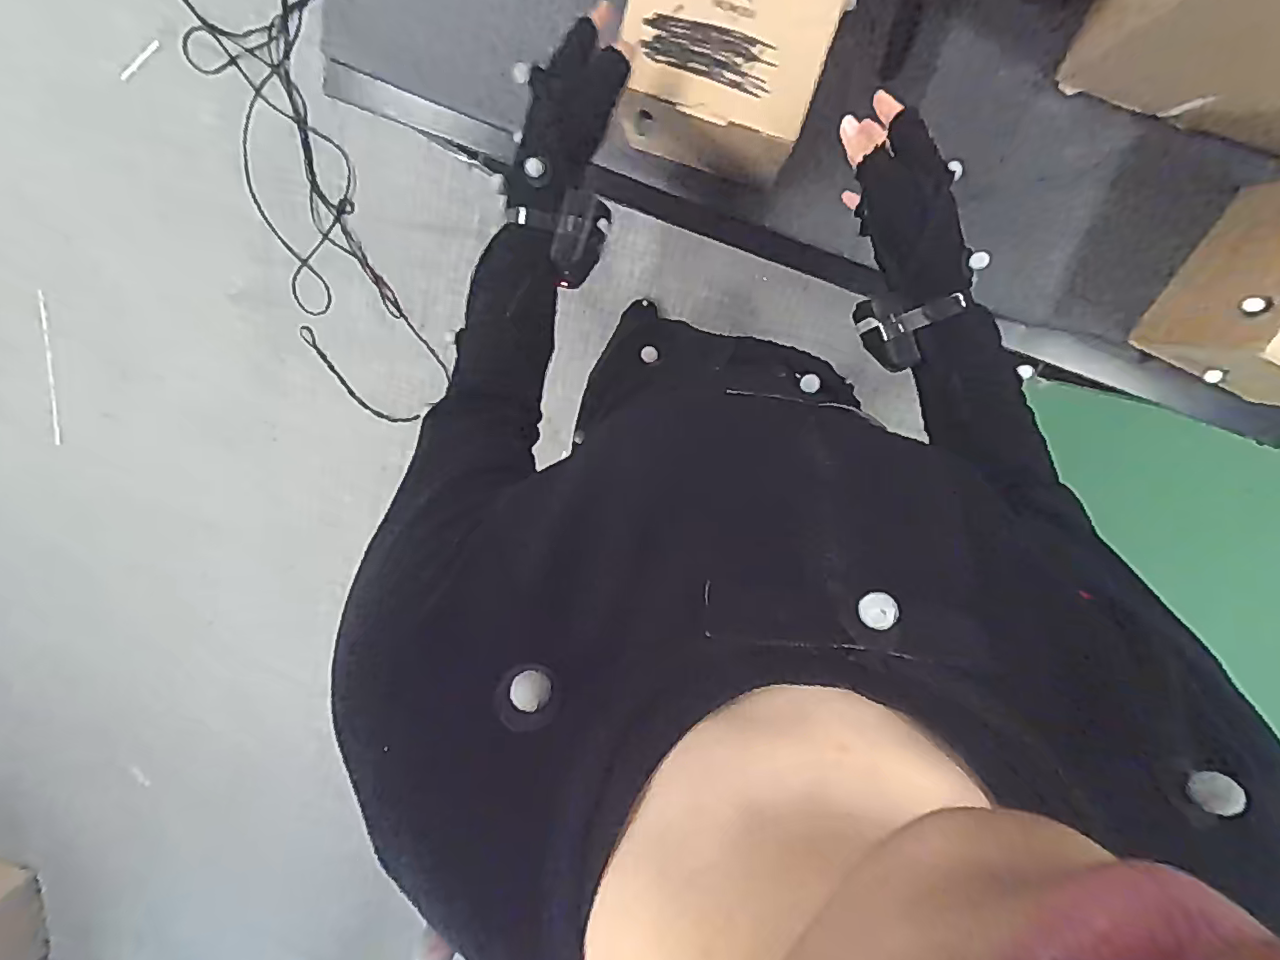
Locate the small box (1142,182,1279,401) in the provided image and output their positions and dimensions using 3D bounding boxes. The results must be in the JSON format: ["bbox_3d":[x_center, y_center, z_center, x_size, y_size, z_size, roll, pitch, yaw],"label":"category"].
[{"bbox_3d":[0.660,-0.177,0.517,0.168,0.176,0.179,25,112,-1],"label":"small box"}]
